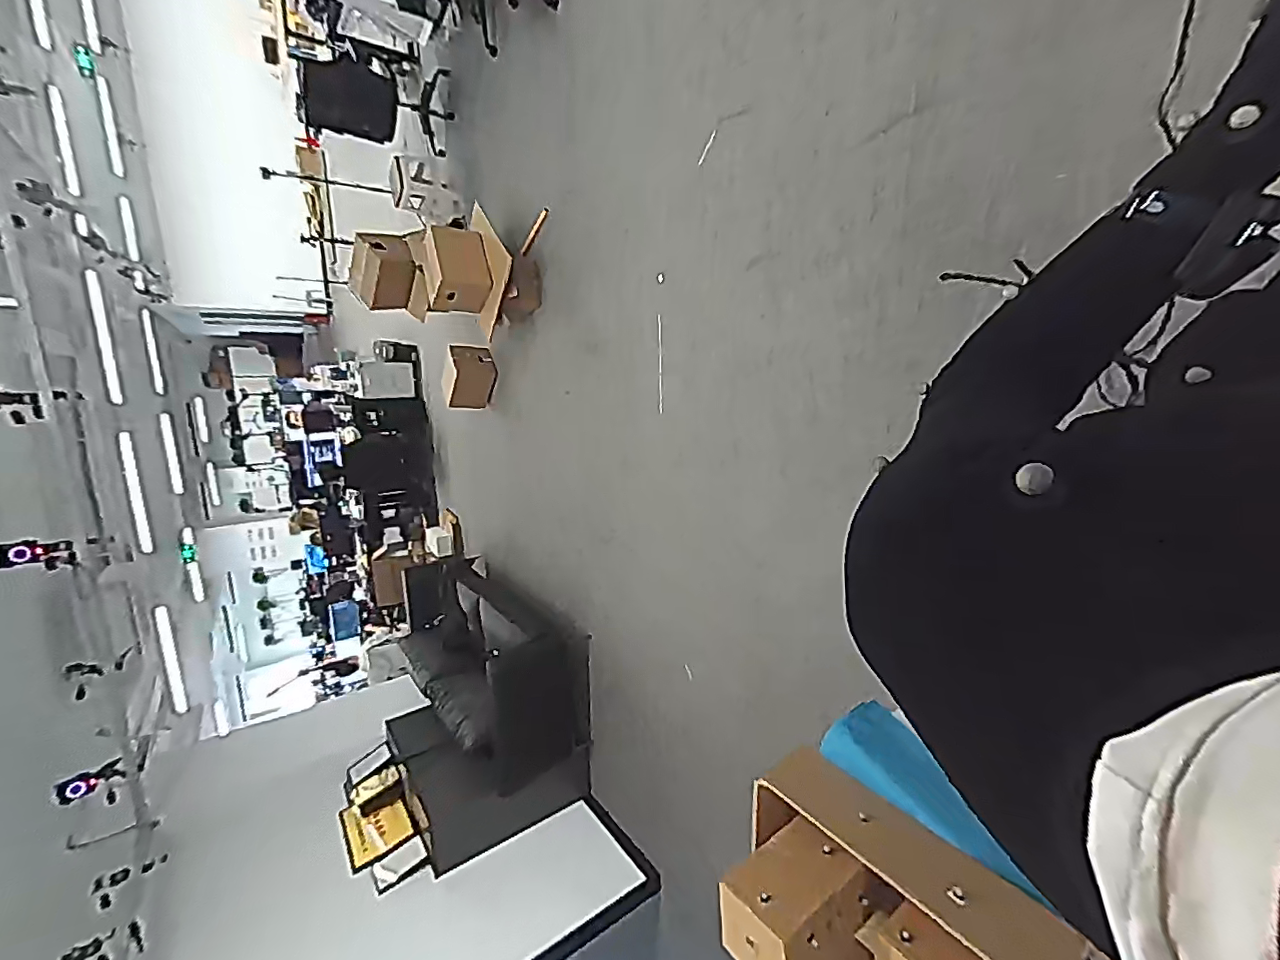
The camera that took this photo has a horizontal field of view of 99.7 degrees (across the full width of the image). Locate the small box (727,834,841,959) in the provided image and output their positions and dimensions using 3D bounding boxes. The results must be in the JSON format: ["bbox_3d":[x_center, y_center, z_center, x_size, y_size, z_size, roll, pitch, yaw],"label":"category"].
[{"bbox_3d":[0.308,0.909,1.153,0.179,0.176,0.168,10,107,54],"label":"small box"}]
